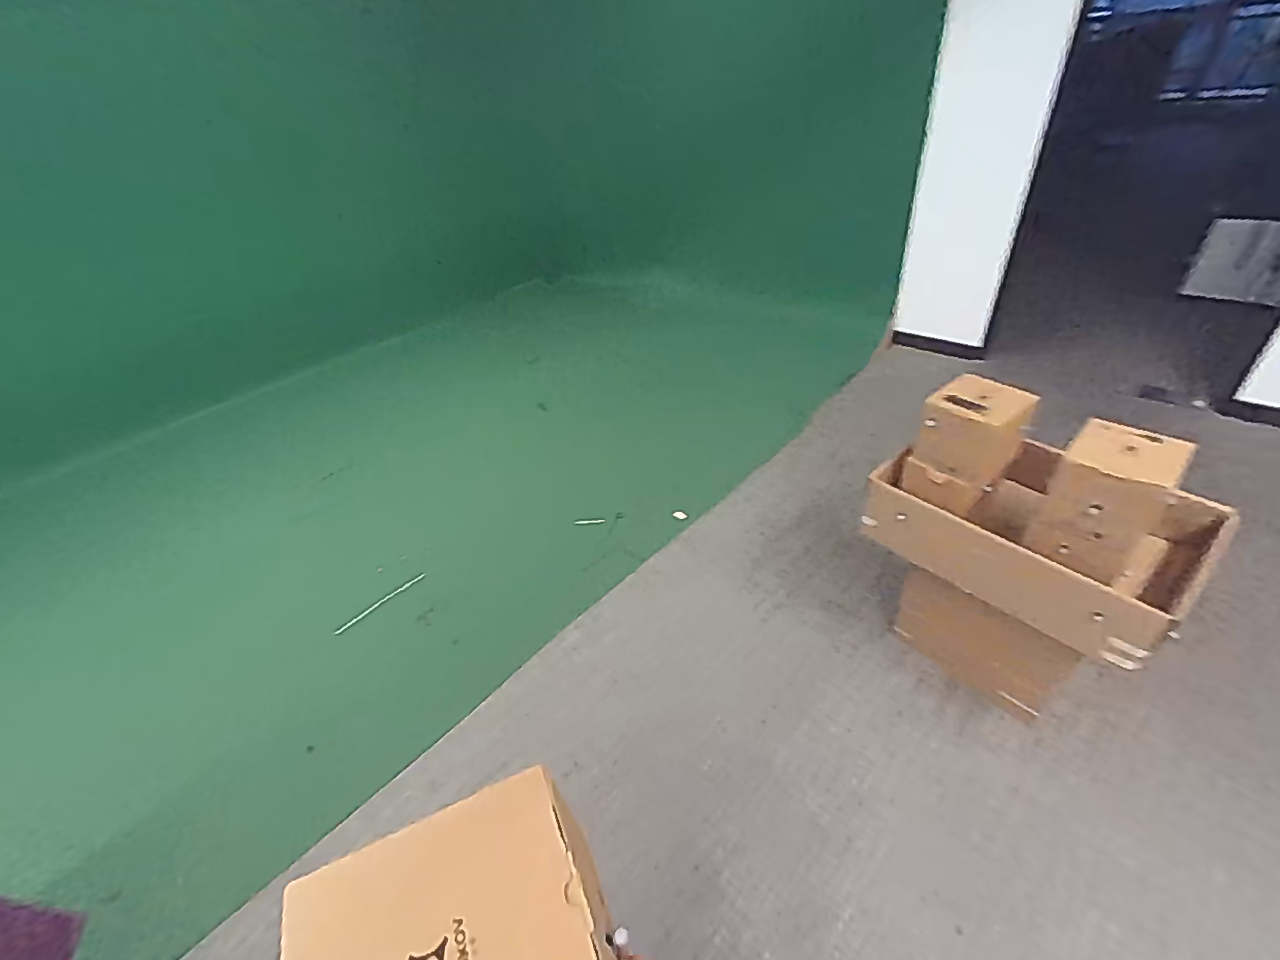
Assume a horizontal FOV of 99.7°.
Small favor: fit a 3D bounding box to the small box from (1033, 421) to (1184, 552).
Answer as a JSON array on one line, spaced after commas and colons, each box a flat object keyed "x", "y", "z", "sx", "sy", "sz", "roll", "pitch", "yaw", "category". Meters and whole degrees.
[{"x": 0.928, "y": 0.013, "z": 1.087, "sx": 0.179, "sy": 0.176, "sz": 0.168, "roll": -35, "pitch": 45, "yaw": -28, "category": "small box"}]
